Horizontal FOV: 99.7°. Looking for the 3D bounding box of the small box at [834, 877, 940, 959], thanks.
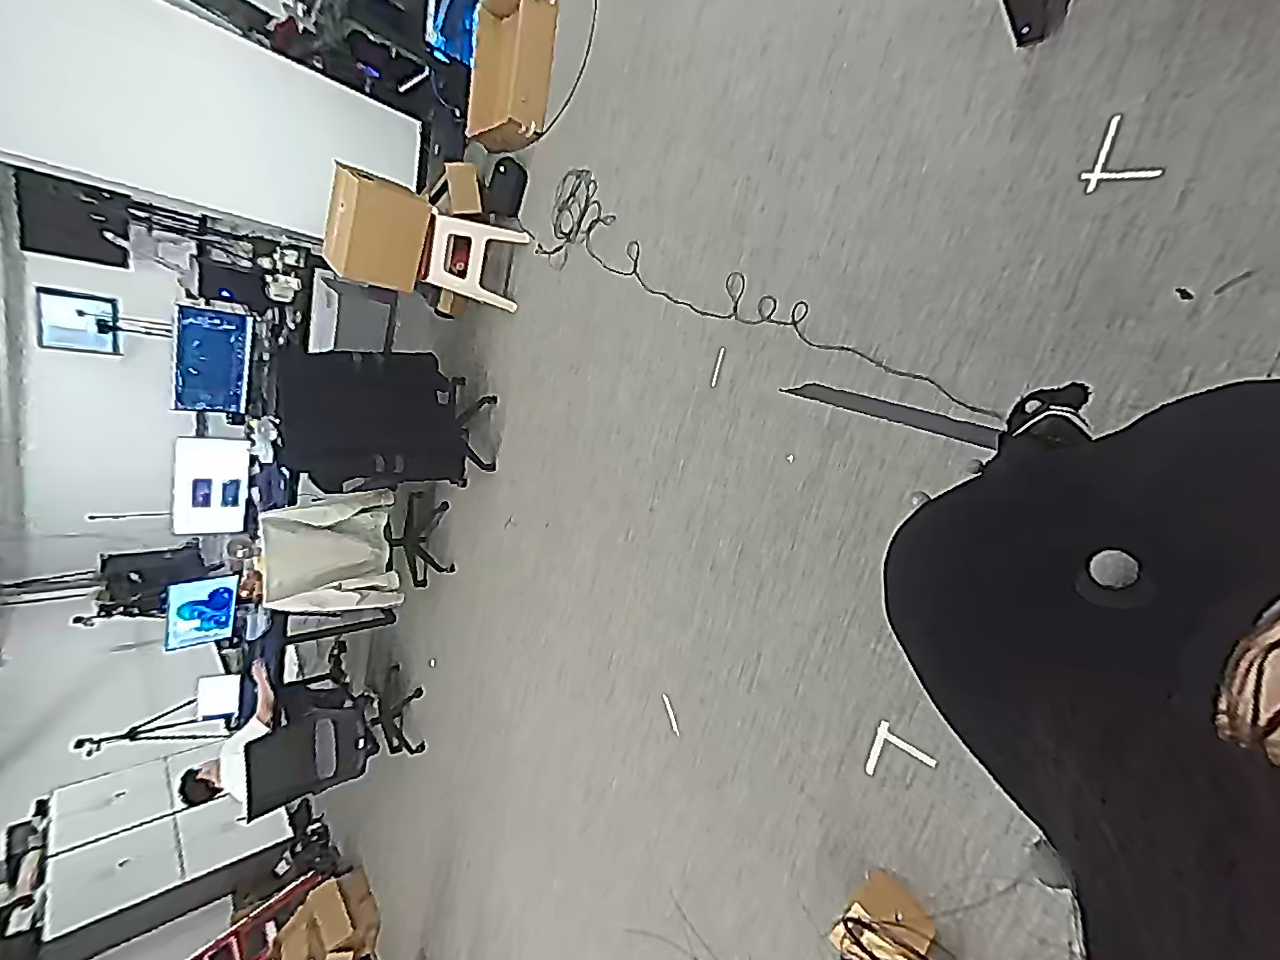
[{"bbox_3d":[0.665,1.218,1.454,0.179,0.176,0.168,38,117,36],"label":"small box"}]
